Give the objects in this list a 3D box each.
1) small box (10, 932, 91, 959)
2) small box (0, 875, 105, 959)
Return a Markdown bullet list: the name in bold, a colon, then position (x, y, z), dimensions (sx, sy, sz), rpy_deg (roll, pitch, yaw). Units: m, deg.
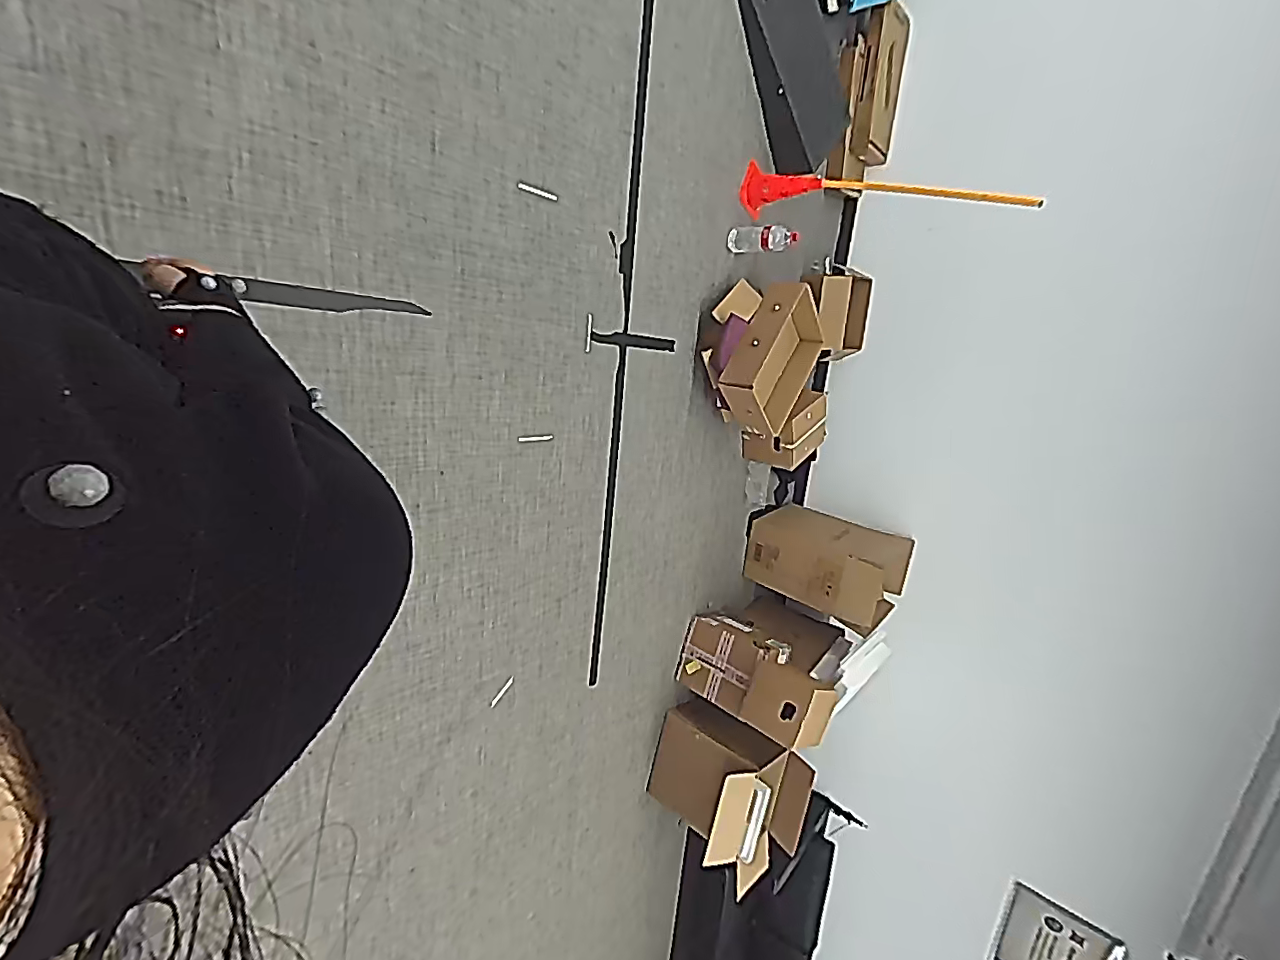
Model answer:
- **small box**: position (-1.143, 1.016, 1.014), dimensions (0.168, 0.176, 0.179), rpy_deg (-29, 125, -44)
- **small box**: position (-1.264, 0.971, 1.117), dimensions (0.168, 0.176, 0.179), rpy_deg (-28, 124, -43)
